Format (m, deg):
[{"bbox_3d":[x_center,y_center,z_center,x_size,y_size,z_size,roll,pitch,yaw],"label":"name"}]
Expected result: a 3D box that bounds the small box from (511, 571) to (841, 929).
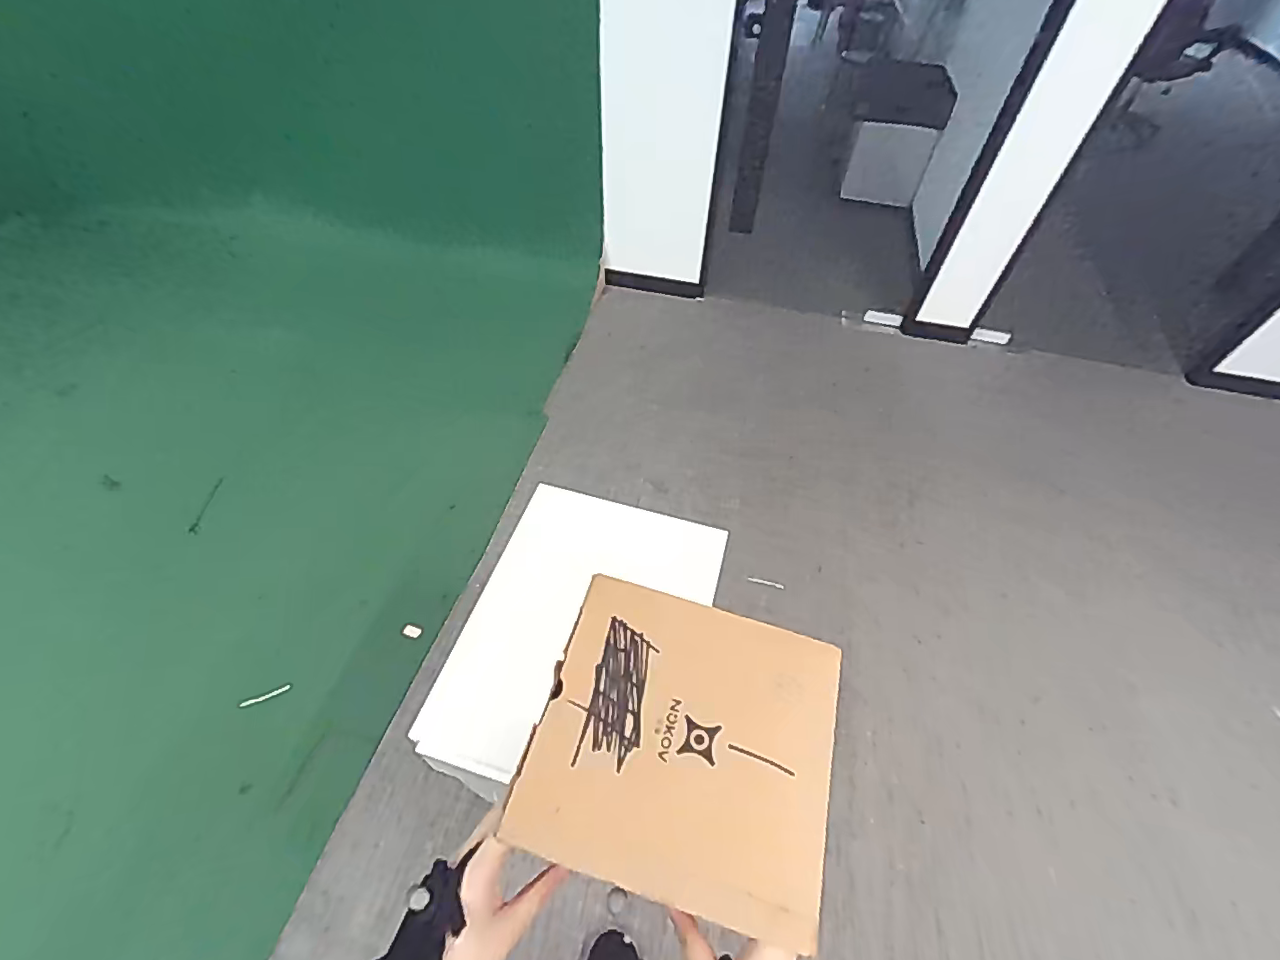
[{"bbox_3d":[0.027,0.197,0.402,0.179,0.176,0.168,17,56,7],"label":"small box"}]
